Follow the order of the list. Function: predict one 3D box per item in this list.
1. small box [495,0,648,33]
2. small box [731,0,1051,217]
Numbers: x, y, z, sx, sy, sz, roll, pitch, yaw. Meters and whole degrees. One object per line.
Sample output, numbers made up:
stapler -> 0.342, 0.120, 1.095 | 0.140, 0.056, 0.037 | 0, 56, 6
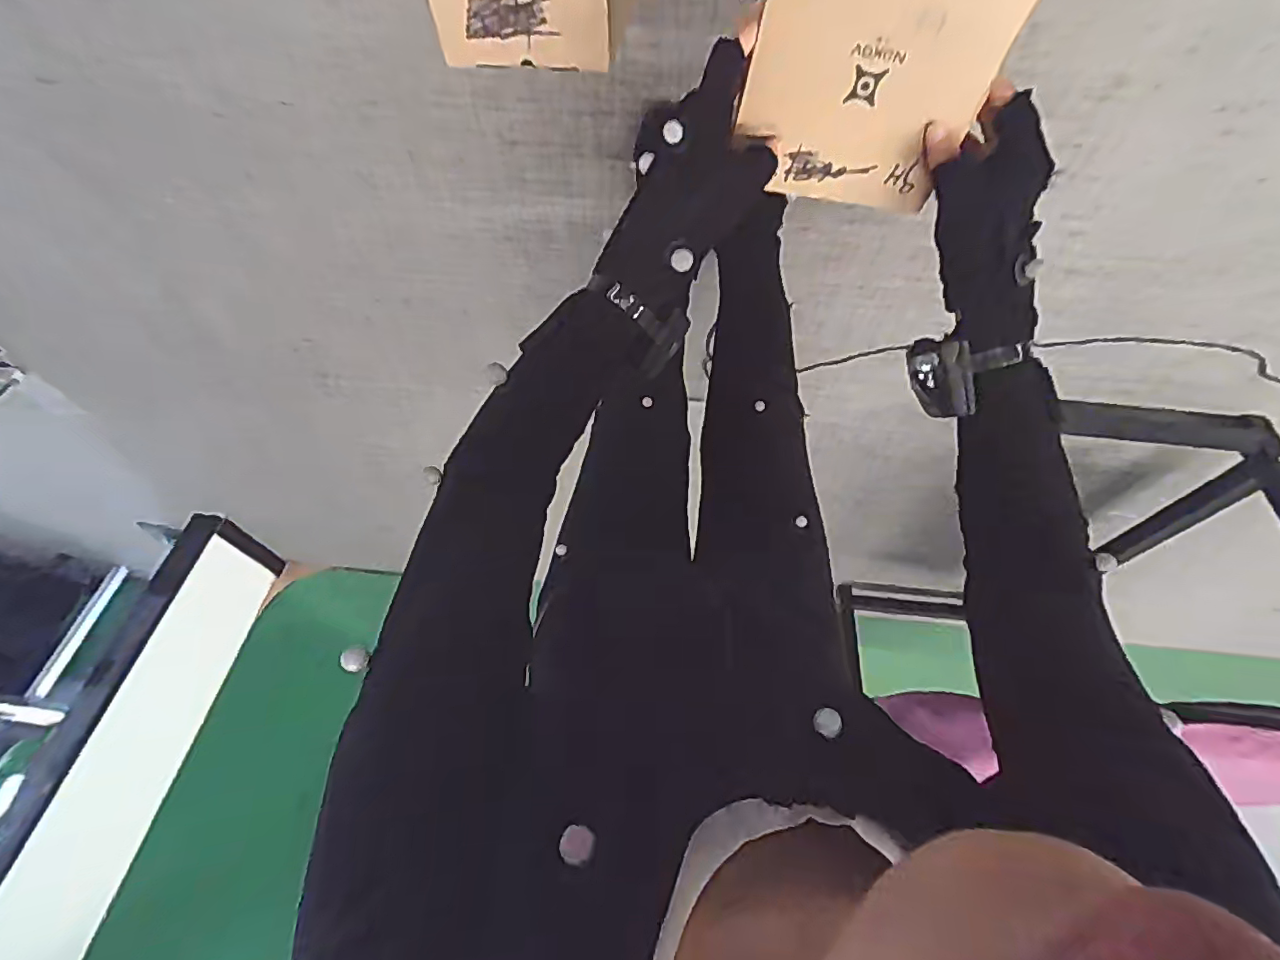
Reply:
small box -> -0.073, -0.633, 0.596 | 0.168, 0.176, 0.179 | 6, 147, 4
small box -> 0.168, -0.337, 0.412 | 0.168, 0.176, 0.179 | 7, 144, -3
